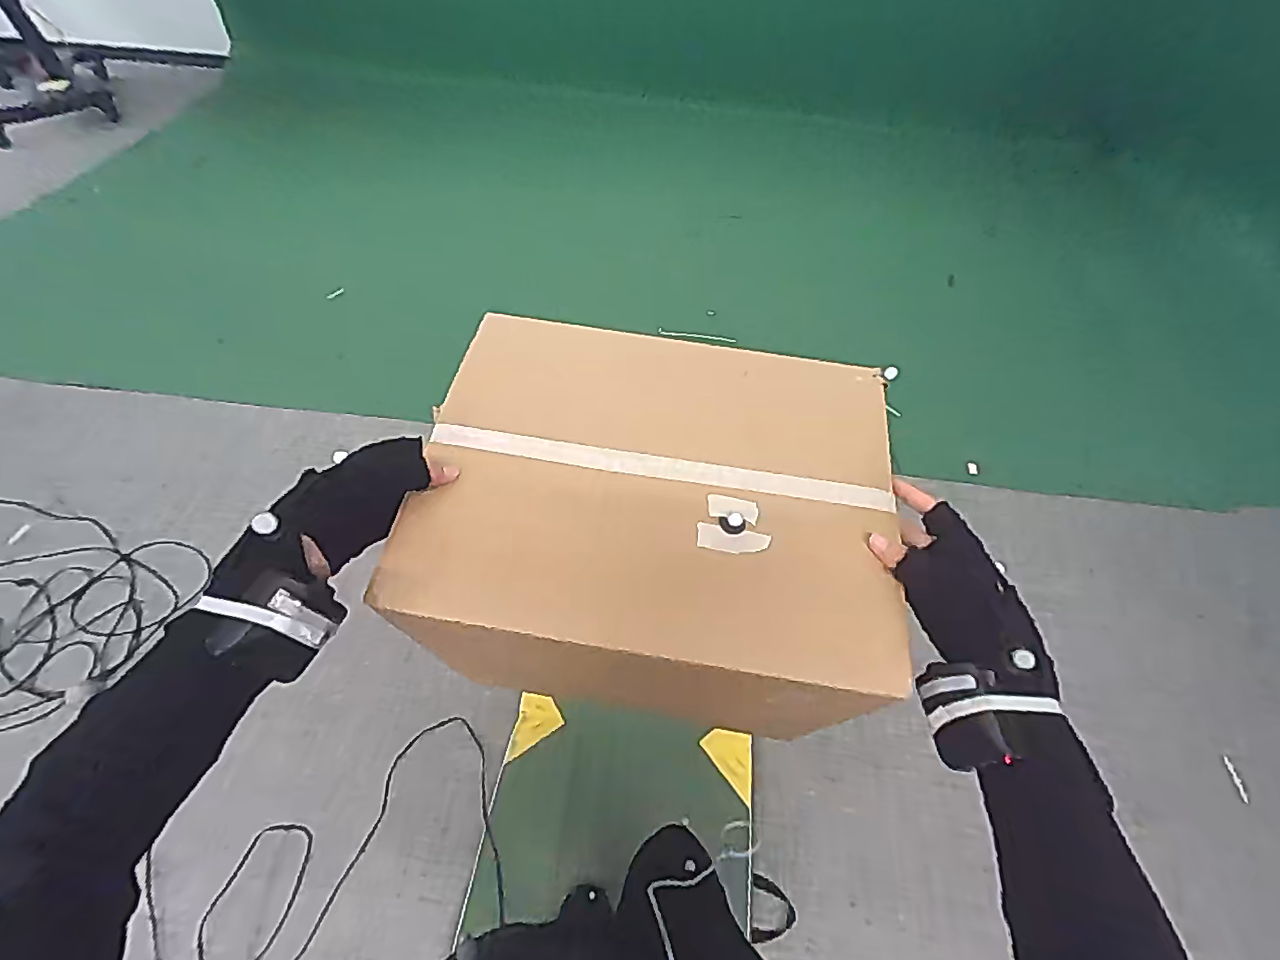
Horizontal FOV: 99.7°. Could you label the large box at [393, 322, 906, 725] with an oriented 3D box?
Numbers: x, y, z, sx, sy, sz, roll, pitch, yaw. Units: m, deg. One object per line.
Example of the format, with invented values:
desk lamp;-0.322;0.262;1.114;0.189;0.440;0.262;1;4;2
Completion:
large box;0.015;0.066;0.611;0.408;0.320;0.320;9;60;2
